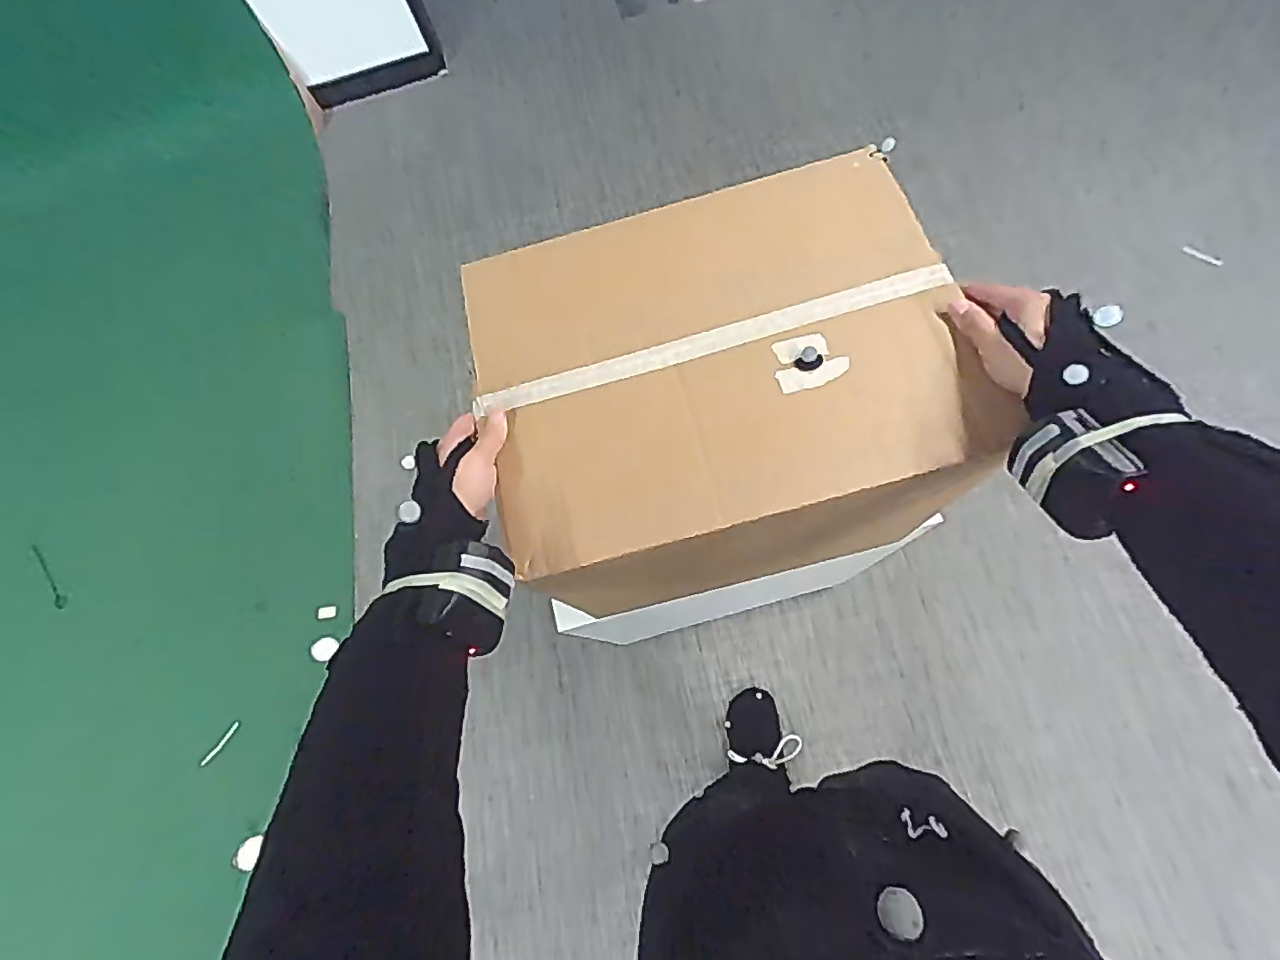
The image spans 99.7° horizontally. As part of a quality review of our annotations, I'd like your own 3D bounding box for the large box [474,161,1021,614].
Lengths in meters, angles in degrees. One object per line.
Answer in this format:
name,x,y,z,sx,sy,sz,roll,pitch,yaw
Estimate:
large box,0.081,-0.066,0.605,0.408,0.320,0.320,-15,70,1
